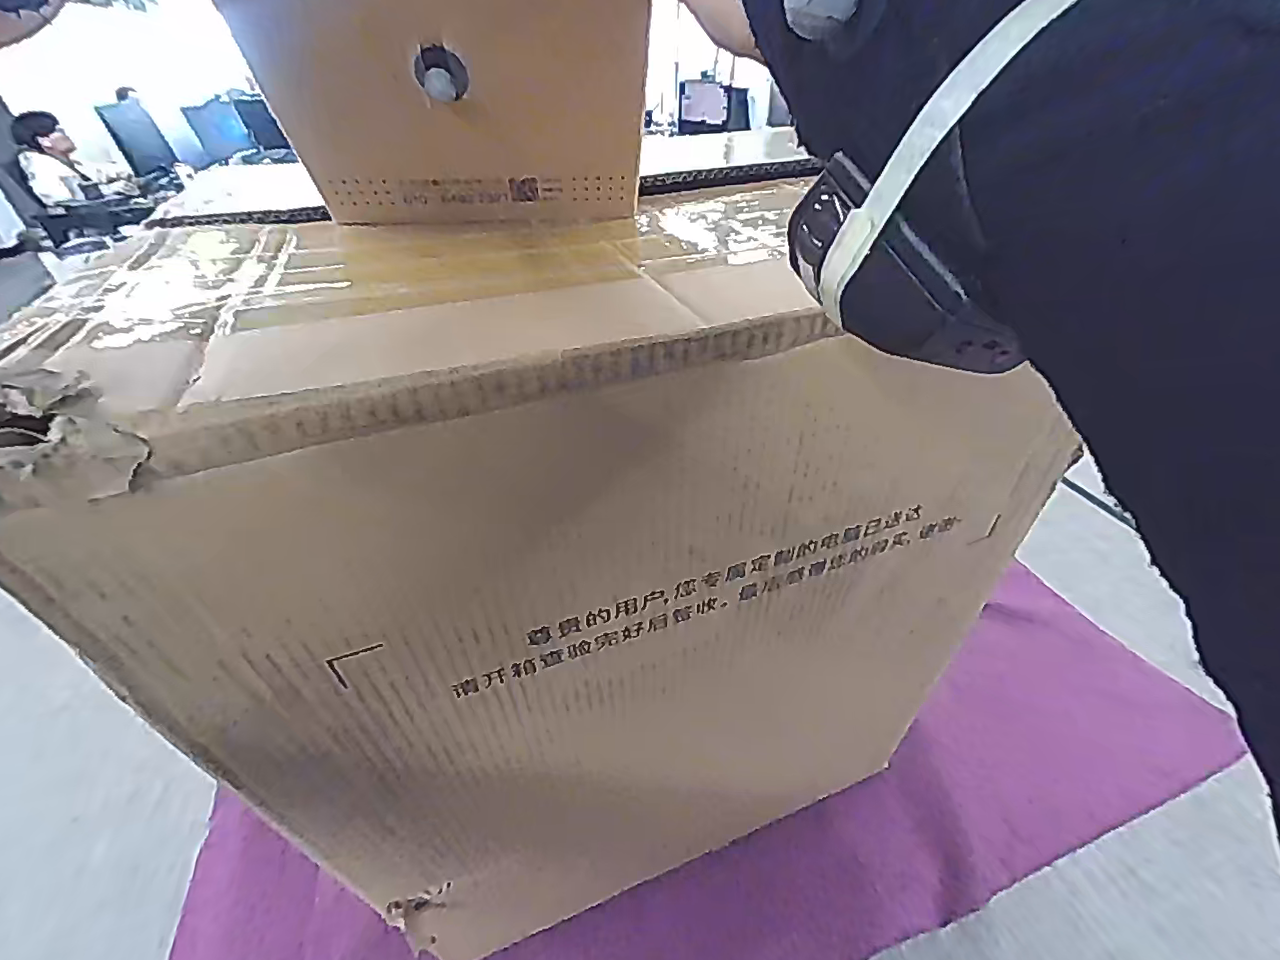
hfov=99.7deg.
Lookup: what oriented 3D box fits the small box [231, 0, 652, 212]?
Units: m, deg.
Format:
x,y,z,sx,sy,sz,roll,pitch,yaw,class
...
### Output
x,y,z,sx,sy,sz,roll,pitch,yaw,class
-0.083,-0.253,0.257,0.168,0.176,0.179,-4,69,-7,small box
